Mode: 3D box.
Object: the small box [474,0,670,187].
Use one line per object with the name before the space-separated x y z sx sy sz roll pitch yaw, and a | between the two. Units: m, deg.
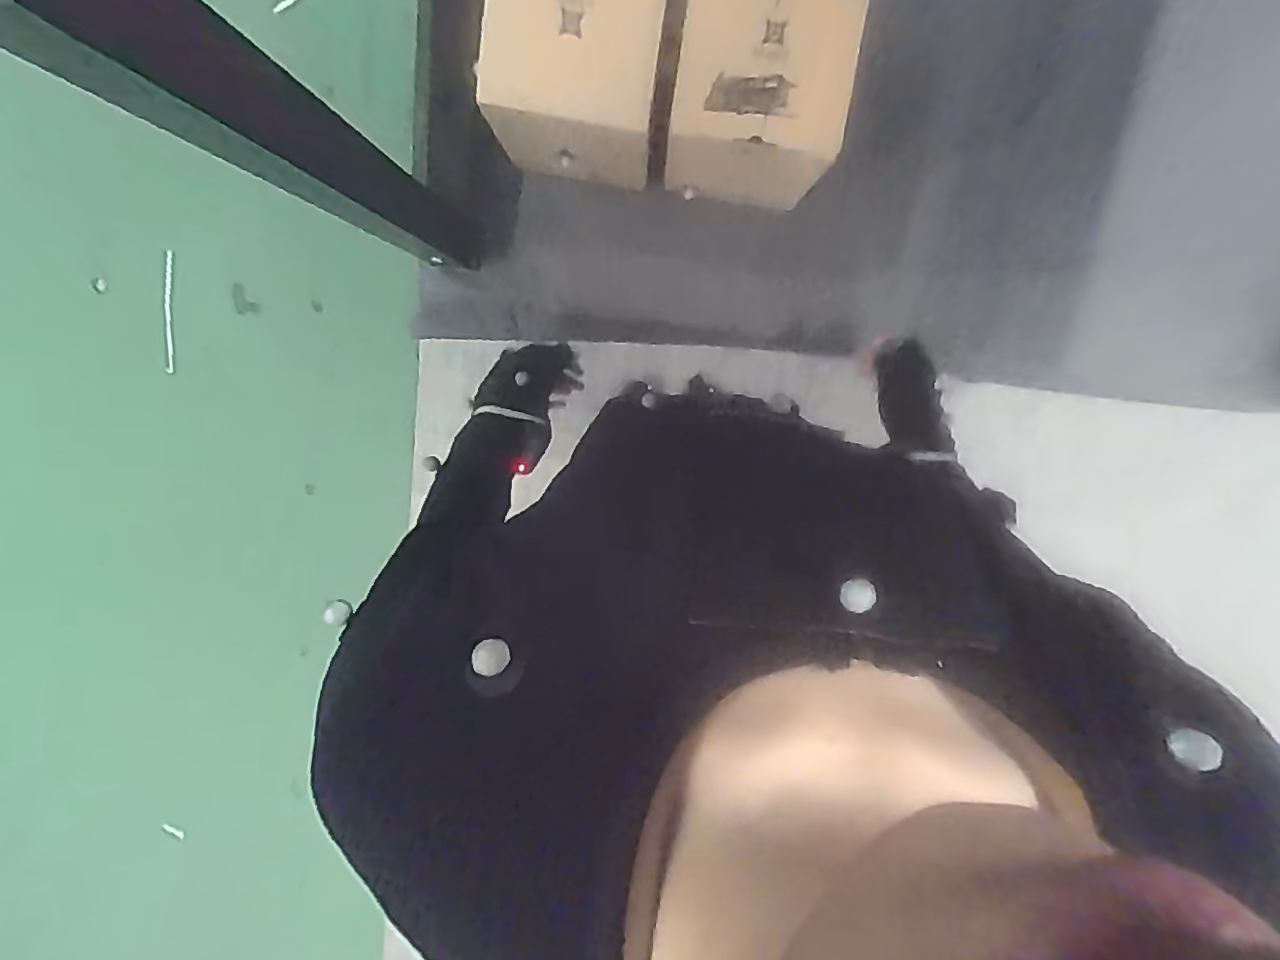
small box | -0.061 -0.435 0.569 0.168 0.176 0.179 9 101 -3
